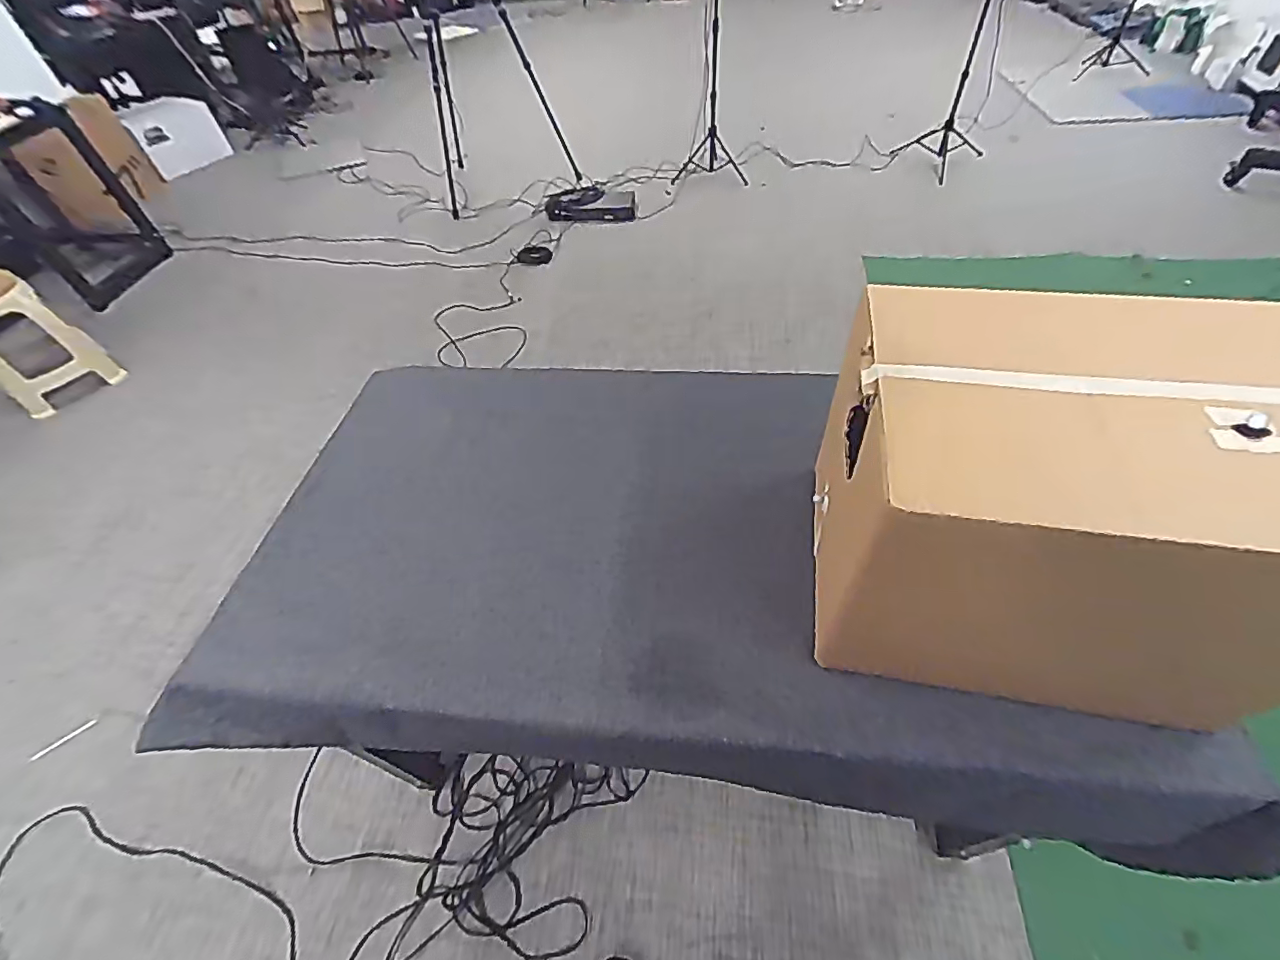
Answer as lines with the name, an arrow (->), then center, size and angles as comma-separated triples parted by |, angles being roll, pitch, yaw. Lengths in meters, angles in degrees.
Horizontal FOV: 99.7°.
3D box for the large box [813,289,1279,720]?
large box -> 0.420, 0.022, 0.578 | 0.408, 0.320, 0.320 | 7, 51, 10
